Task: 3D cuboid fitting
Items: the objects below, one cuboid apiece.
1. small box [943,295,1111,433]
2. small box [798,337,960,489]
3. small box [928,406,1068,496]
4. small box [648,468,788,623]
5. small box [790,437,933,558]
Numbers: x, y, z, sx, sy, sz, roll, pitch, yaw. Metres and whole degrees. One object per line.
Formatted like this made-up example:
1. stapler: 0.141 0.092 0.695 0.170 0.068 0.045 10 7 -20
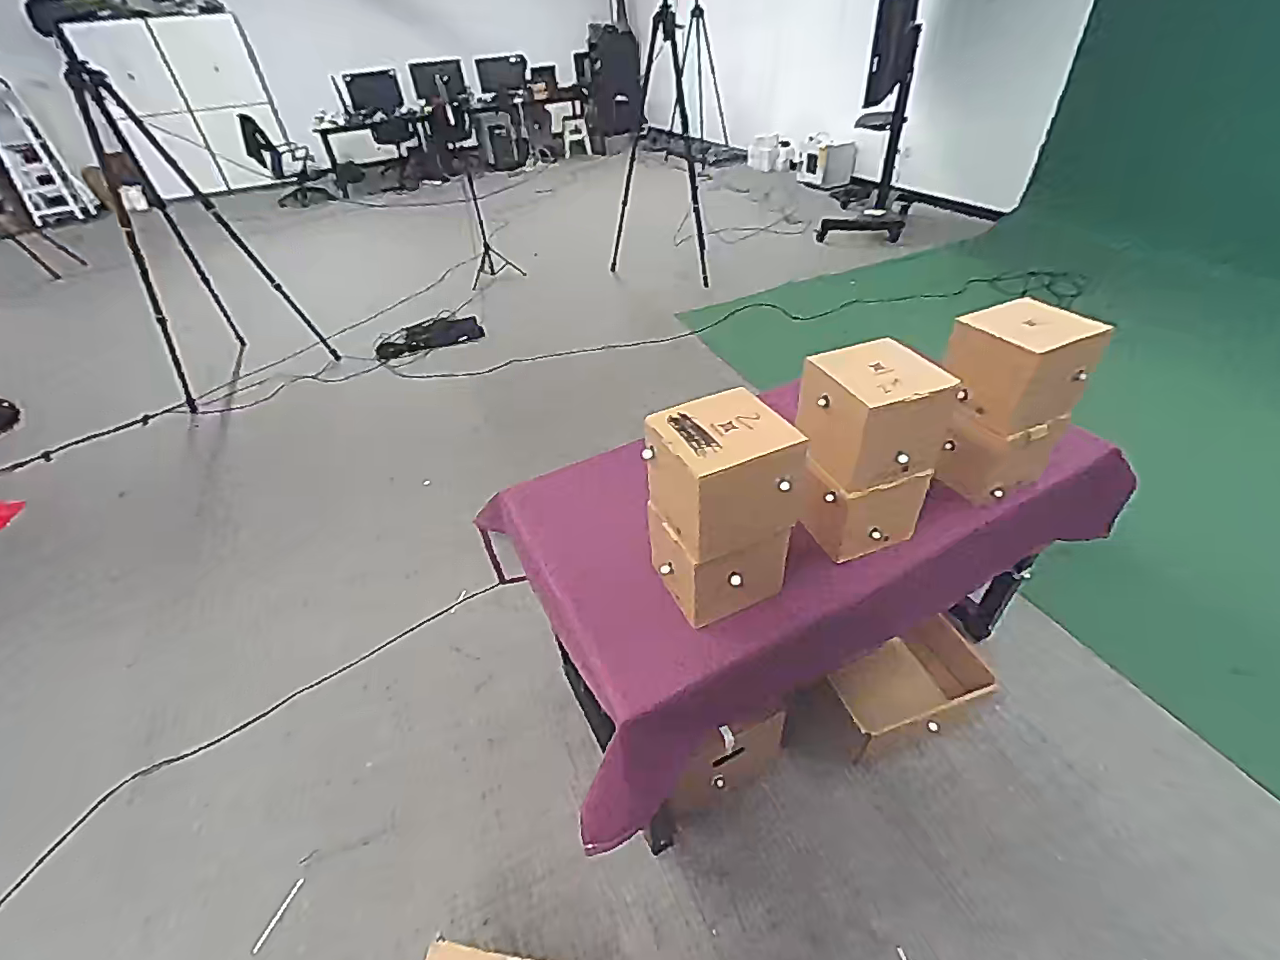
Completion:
1. small box: 0.683 -0.212 0.987 0.179 0.176 0.168 -19 42 -14
2. small box: 0.384 -0.114 0.910 0.168 0.176 0.179 -16 42 -11
3. small box: 0.693 -0.087 1.090 0.168 0.176 0.179 -20 42 -15
4. small box: 0.131 0.114 0.926 0.179 0.176 0.168 -20 43 -15
5. small box: 0.398 0.015 1.012 0.168 0.176 0.179 -17 43 -12
